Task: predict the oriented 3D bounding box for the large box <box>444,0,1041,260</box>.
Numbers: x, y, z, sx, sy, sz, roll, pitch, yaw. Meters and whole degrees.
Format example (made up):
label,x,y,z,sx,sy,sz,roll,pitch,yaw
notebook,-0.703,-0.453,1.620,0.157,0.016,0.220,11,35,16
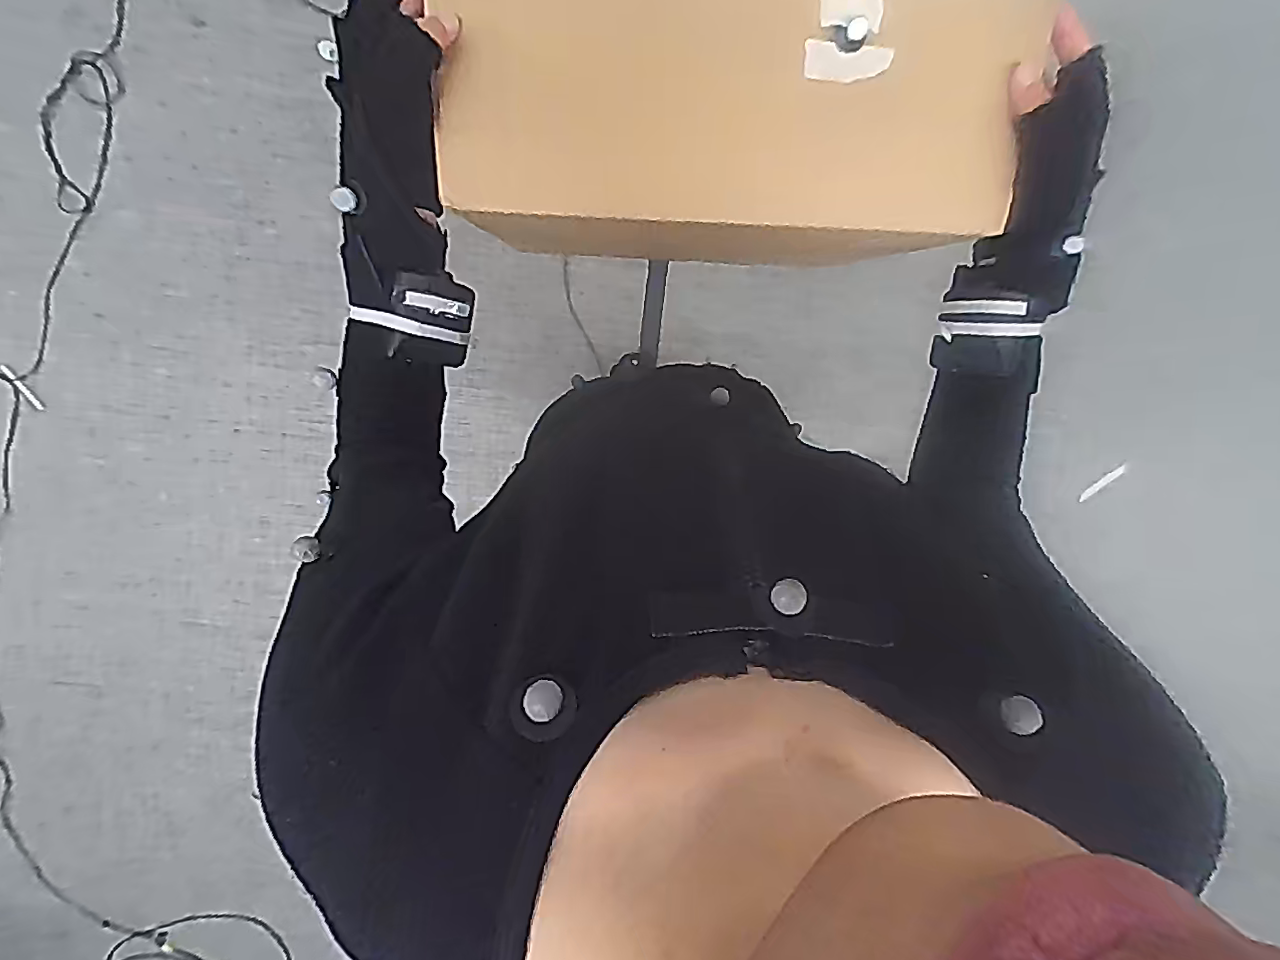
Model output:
label,x,y,z,sx,sy,sz,roll,pitch,yaw
large box,0.060,-0.381,0.488,0.408,0.320,0.320,0,108,-5
